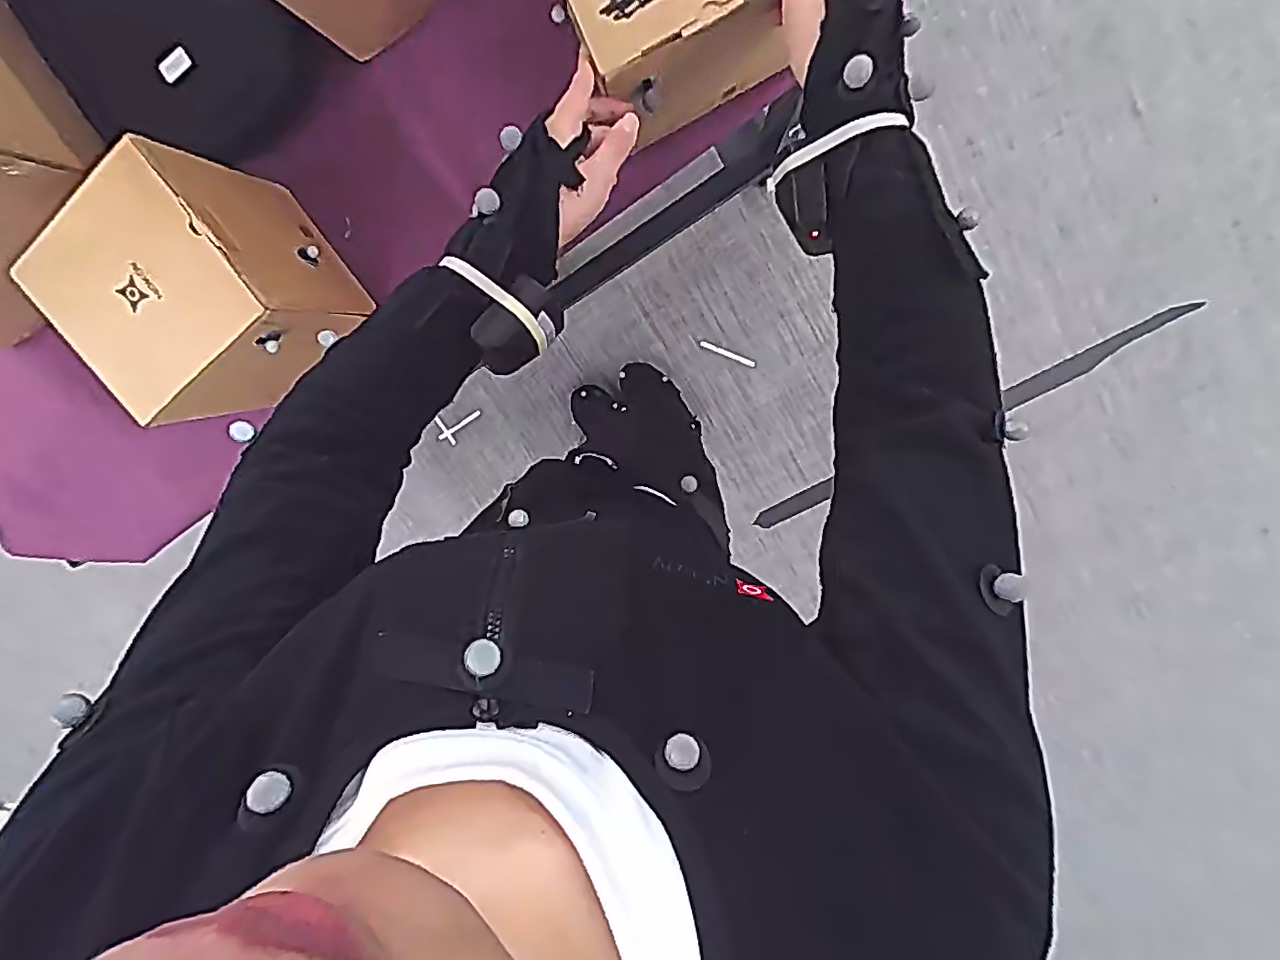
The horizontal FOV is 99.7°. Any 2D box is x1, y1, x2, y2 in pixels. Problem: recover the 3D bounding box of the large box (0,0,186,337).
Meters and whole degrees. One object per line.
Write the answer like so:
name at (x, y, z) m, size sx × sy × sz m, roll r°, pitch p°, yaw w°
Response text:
large box at (-0.738, -0.365, 0.446) m, size 0.320 × 0.320 × 0.408 m, roll -30°, pitch 103°, yaw 13°
